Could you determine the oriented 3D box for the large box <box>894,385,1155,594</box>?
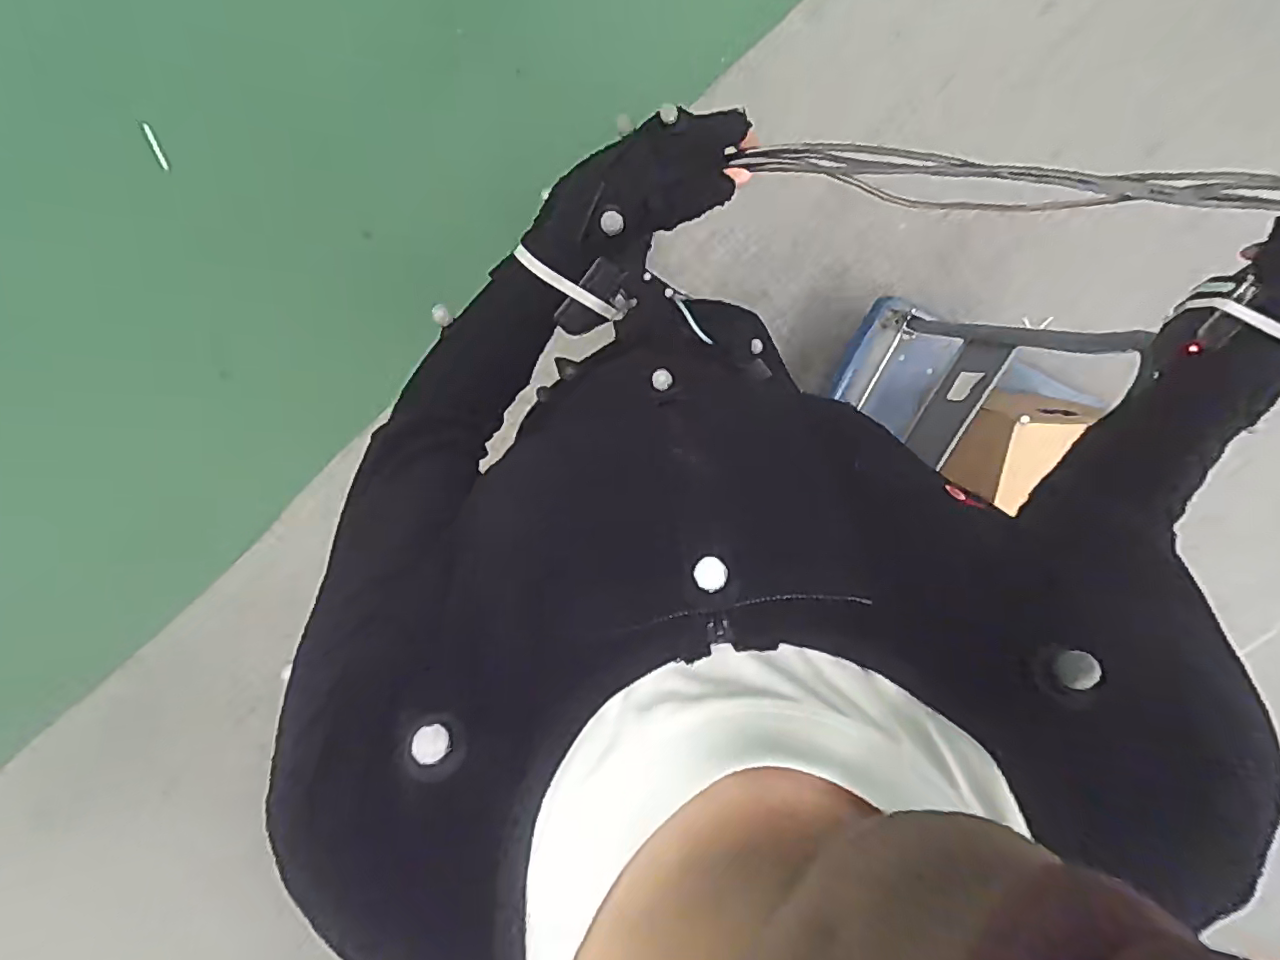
[{"bbox_3d":[0.829,0.009,1.234,0.320,0.320,0.408,0,109,-5],"label":"large box"}]
